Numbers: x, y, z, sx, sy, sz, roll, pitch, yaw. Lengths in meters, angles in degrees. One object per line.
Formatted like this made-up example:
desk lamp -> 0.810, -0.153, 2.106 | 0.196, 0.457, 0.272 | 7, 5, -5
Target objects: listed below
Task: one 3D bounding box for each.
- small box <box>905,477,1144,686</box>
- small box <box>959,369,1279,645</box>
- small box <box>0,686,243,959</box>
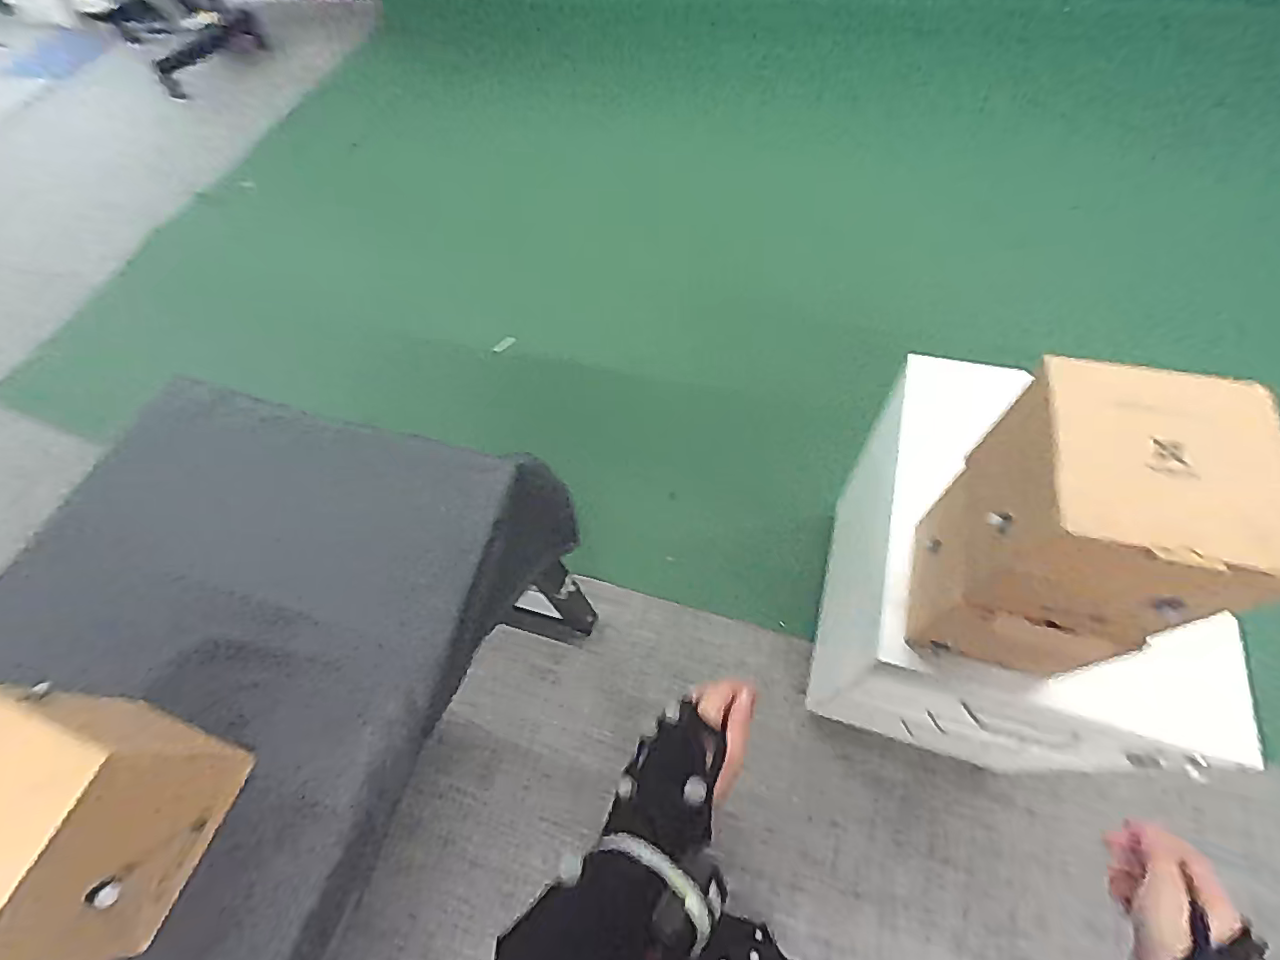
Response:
small box -> 0.423, 0.120, 0.625 | 0.168, 0.176, 0.179 | 14, 62, 12
small box -> 0.412, 0.032, 0.488 | 0.168, 0.176, 0.179 | 13, 61, 10
small box -> -0.508, 0.291, 0.469 | 0.179, 0.176, 0.168 | 14, 63, 14
